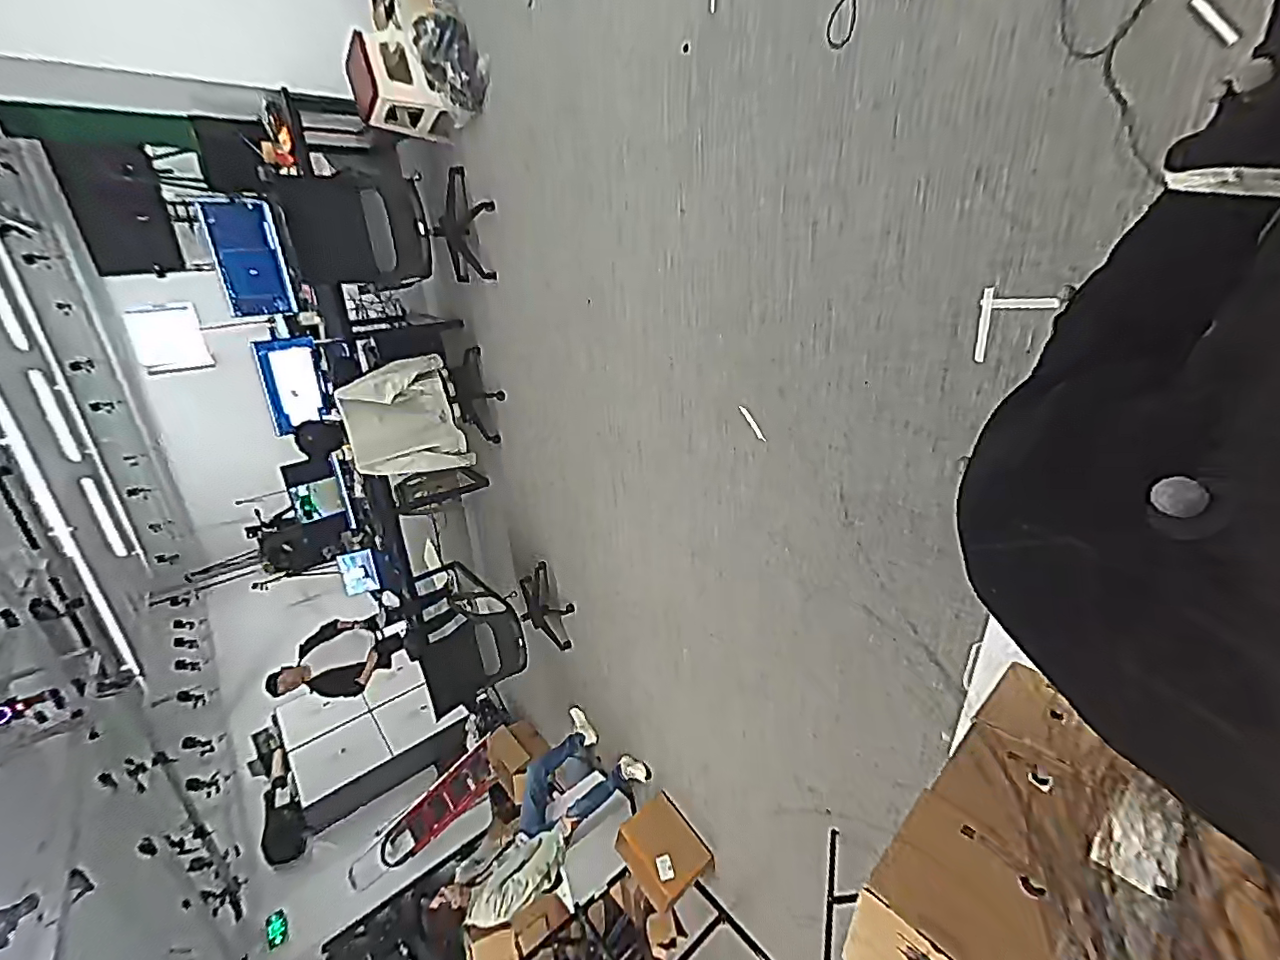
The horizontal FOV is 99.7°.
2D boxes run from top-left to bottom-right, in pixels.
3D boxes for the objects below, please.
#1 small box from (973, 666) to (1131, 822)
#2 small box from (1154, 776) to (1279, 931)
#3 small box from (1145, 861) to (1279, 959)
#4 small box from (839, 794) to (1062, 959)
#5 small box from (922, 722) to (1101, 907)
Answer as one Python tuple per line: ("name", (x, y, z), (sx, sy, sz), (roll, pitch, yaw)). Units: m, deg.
("small box", (0.612, 0.422, 0.829), (0.168, 0.176, 0.179), (25, 125, 44))
("small box", (0.778, 0.516, 0.659), (0.168, 0.176, 0.179), (21, 123, 46))
("small box", (0.652, 0.560, 0.566), (0.168, 0.176, 0.179), (23, 125, 46))
("small box", (0.365, 0.526, 0.641), (0.168, 0.176, 0.179), (26, 128, 42))
("small box", (0.489, 0.479, 0.738), (0.168, 0.176, 0.179), (24, 125, 43))
